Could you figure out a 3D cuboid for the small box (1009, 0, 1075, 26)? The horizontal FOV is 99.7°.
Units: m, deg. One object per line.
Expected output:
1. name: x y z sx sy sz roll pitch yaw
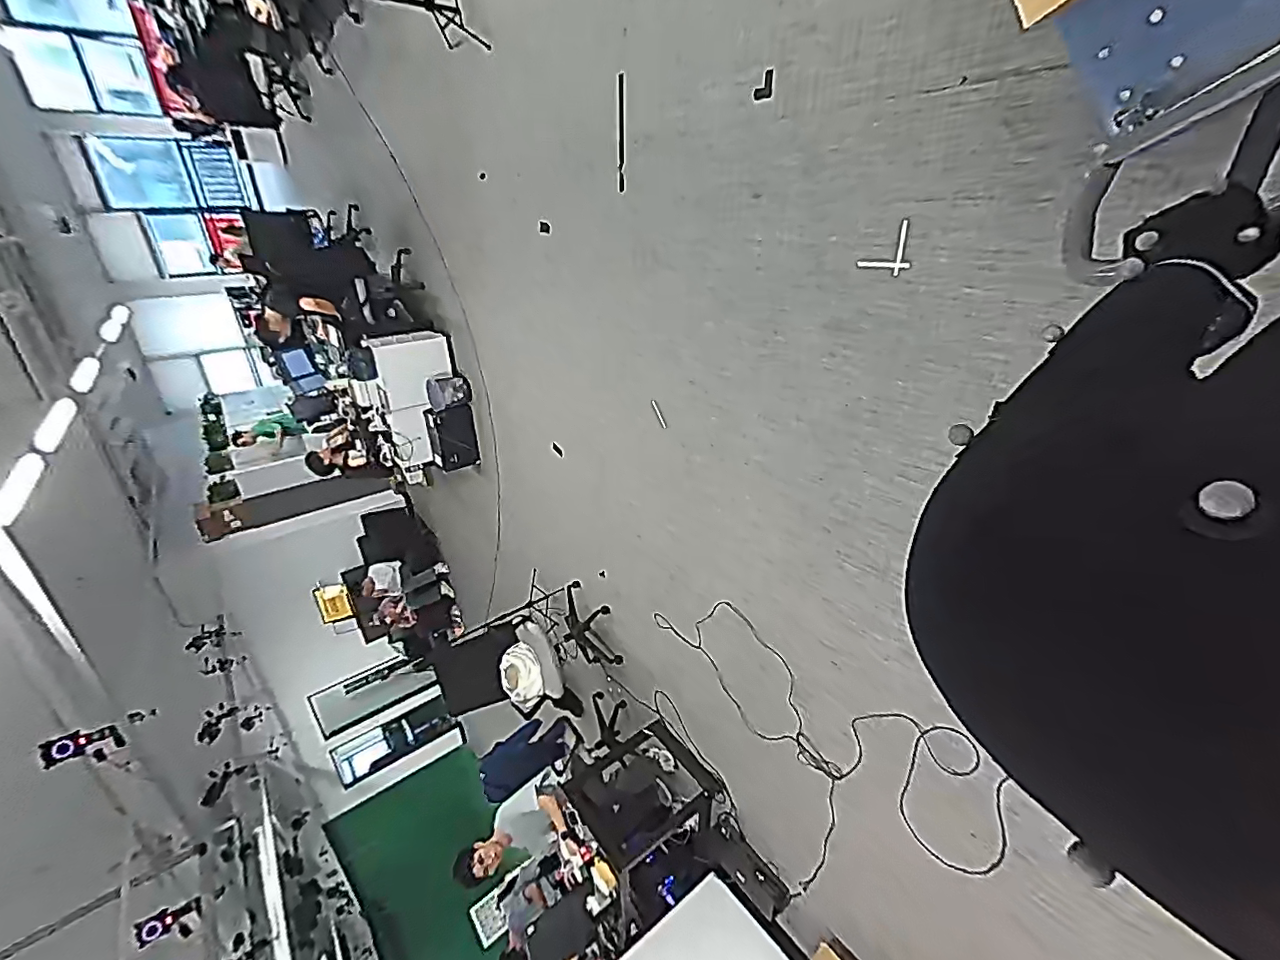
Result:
1. small box: 0.661 -0.836 0.812 0.179 0.176 0.168 -14 112 54
